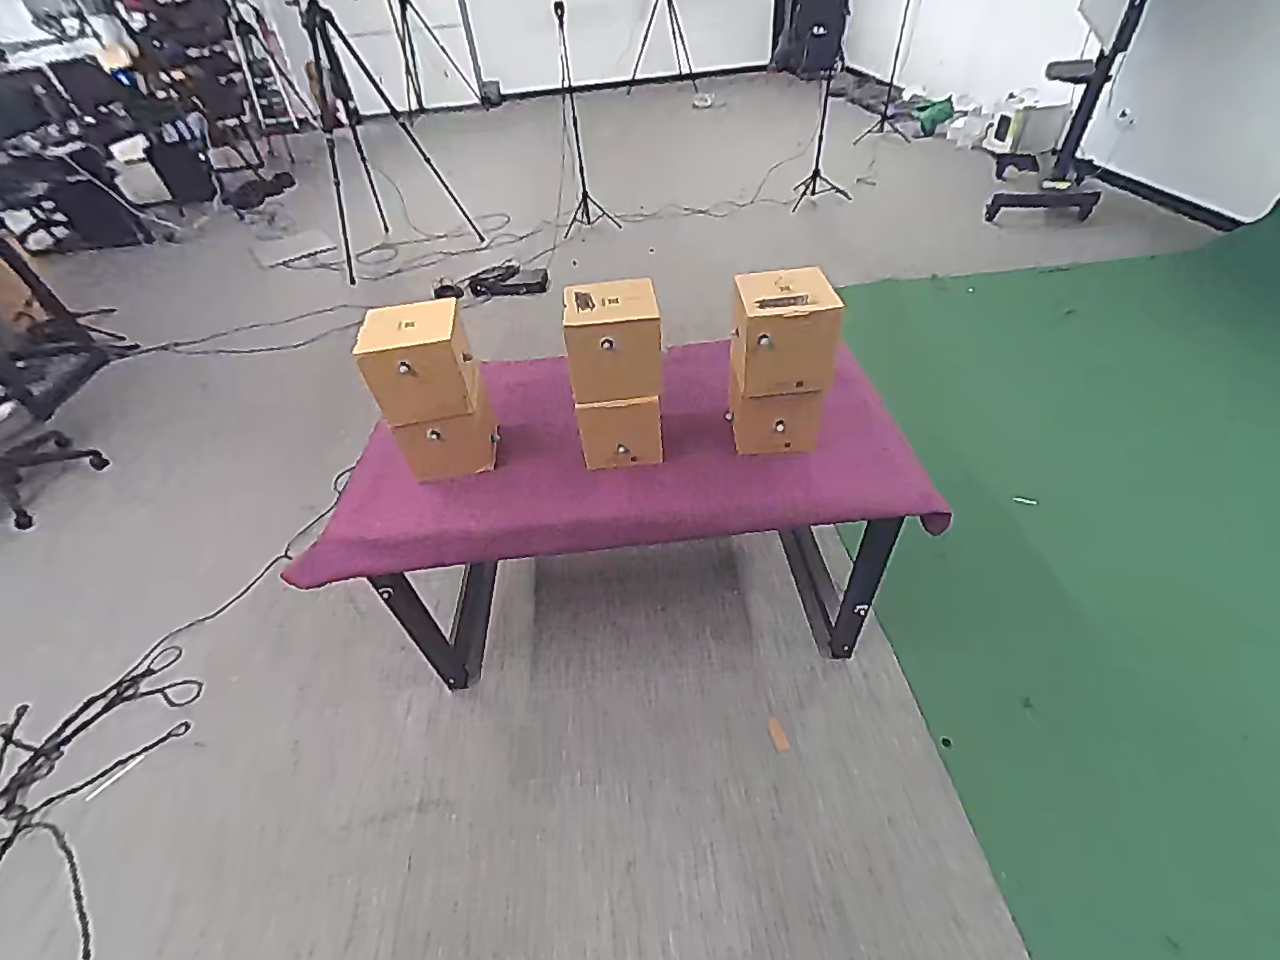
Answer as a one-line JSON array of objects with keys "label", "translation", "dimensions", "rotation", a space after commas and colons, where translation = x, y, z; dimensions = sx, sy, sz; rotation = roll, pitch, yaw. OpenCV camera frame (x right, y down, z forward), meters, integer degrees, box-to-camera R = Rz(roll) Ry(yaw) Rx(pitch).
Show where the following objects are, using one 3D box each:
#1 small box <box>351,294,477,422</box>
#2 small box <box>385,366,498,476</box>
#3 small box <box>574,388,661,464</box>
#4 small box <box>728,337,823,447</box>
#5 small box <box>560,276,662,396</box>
[{"label": "small box", "translation": [-0.428, -0.237, 1.060], "dimensions": [0.179, 0.176, 0.168], "rotation": [-11, 46, -4]}, {"label": "small box", "translation": [-0.421, -0.125, 1.177], "dimensions": [0.179, 0.176, 0.168], "rotation": [-9, 45, -3]}, {"label": "small box", "translation": [-0.044, -0.154, 1.164], "dimensions": [0.168, 0.176, 0.179], "rotation": [-5, 45, 2]}, {"label": "small box", "translation": [0.281, -0.182, 1.155], "dimensions": [0.168, 0.176, 0.179], "rotation": [-3, 45, 3]}, {"label": "small box", "translation": [-0.054, -0.277, 1.055], "dimensions": [0.179, 0.176, 0.168], "rotation": [-6, 44, -1]}]
